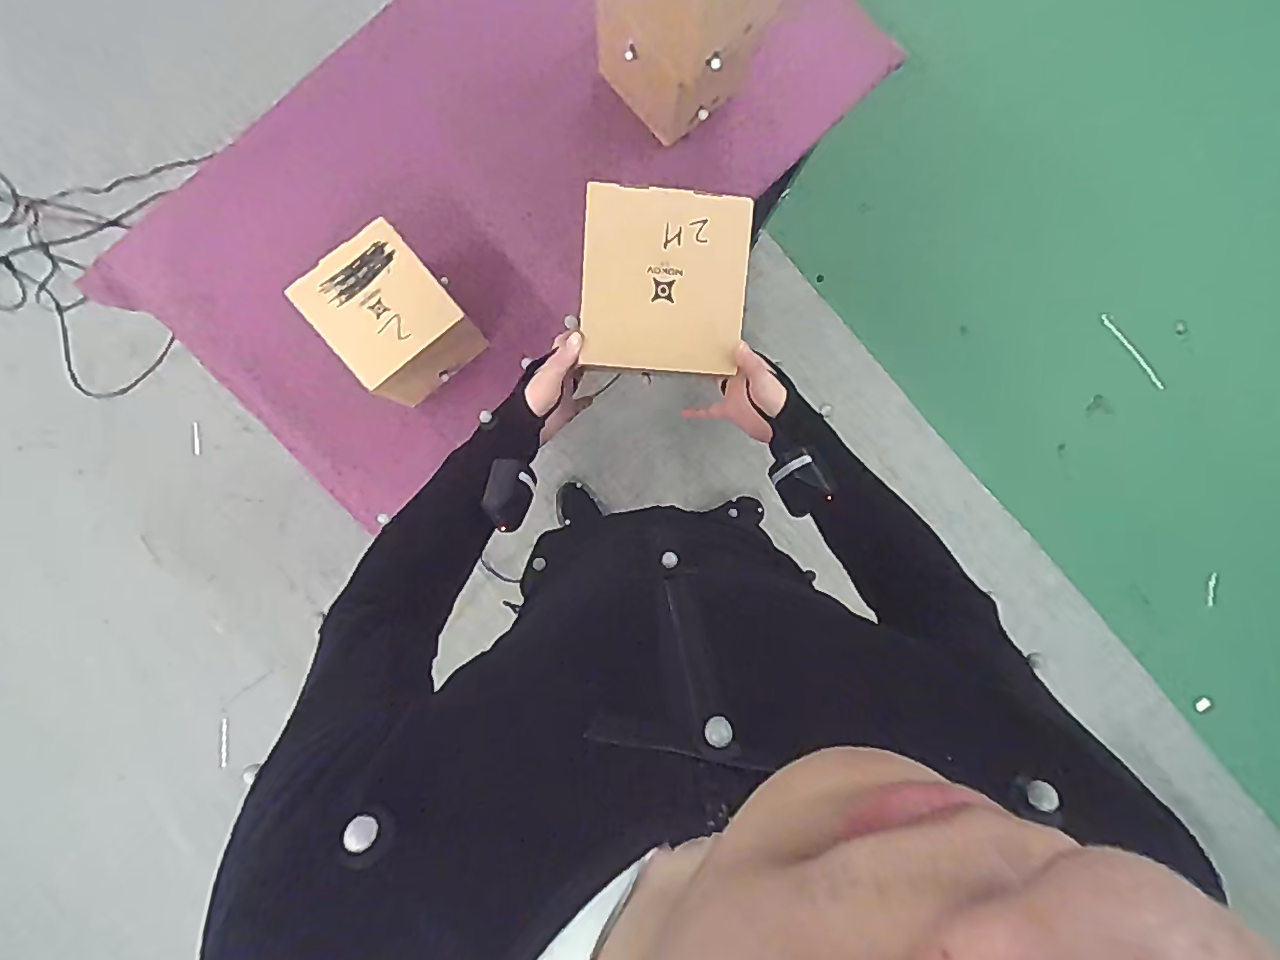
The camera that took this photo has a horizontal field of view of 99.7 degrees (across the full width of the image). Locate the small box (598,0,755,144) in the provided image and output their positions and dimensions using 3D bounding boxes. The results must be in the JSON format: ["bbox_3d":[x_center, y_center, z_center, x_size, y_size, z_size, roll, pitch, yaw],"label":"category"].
[{"bbox_3d":[0.046,-0.670,0.827,0.168,0.176,0.179,-41,92,-1],"label":"small box"}]

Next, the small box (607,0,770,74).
[{"bbox_3d":[0.066,-0.654,0.664,0.168,0.176,0.179,-43,91,-1],"label":"small box"}]

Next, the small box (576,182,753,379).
[{"bbox_3d":[0.019,-0.210,0.619,0.168,0.176,0.179,4,98,-5],"label":"small box"}]
